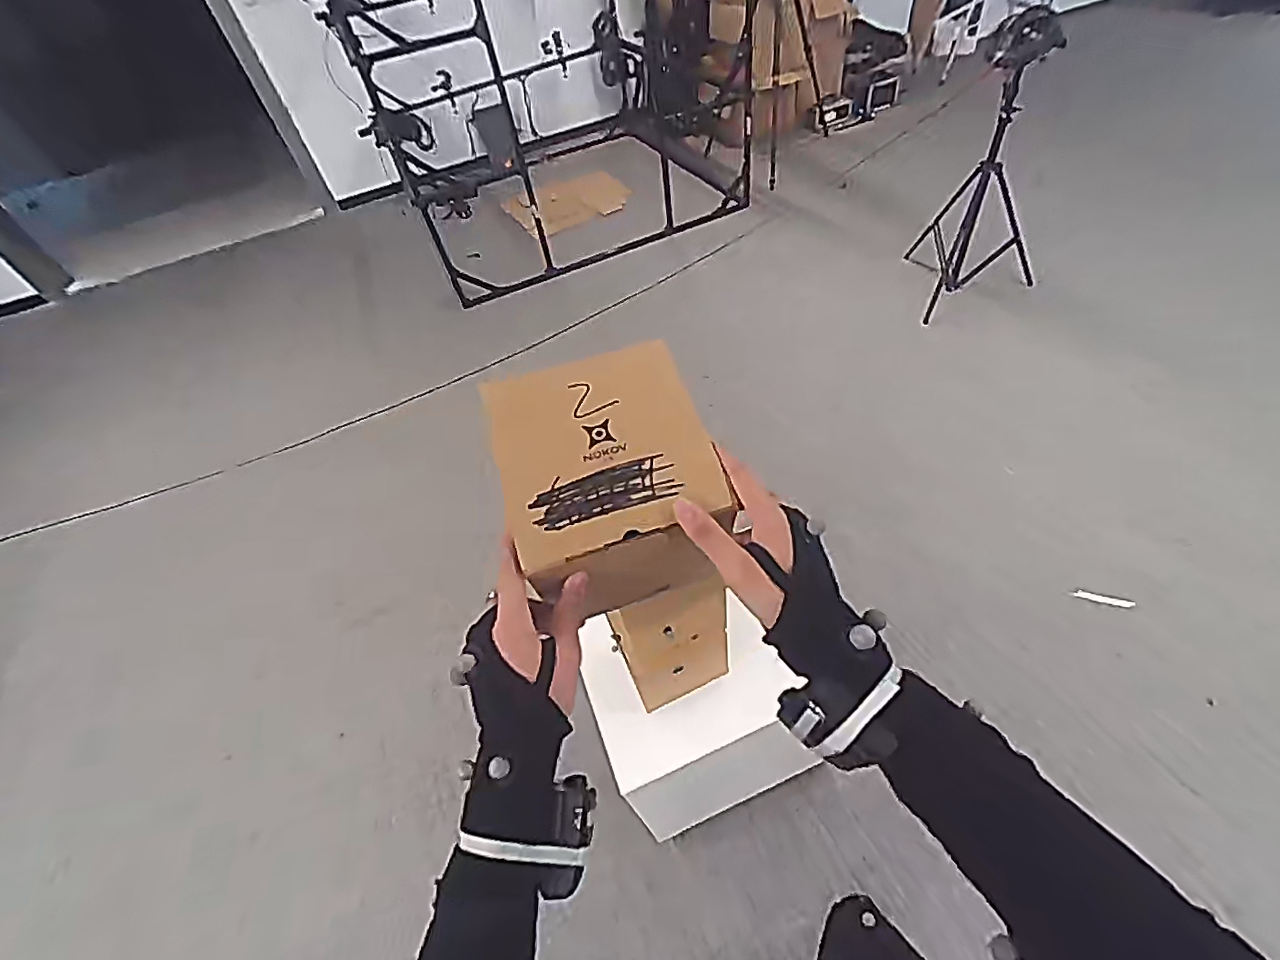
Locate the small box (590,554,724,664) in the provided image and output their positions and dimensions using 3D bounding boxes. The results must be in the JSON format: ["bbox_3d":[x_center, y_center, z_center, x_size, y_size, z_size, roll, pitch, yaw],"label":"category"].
[{"bbox_3d":[0.032,0.183,0.904,0.168,0.176,0.179,-22,48,-10],"label":"small box"}]

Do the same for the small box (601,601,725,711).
[{"bbox_3d":[0.048,0.302,1.014,0.179,0.176,0.168,-23,49,-11],"label":"small box"}]

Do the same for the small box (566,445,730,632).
[{"bbox_3d":[0.017,0.086,0.770,0.179,0.176,0.168,-23,49,-10],"label":"small box"}]
